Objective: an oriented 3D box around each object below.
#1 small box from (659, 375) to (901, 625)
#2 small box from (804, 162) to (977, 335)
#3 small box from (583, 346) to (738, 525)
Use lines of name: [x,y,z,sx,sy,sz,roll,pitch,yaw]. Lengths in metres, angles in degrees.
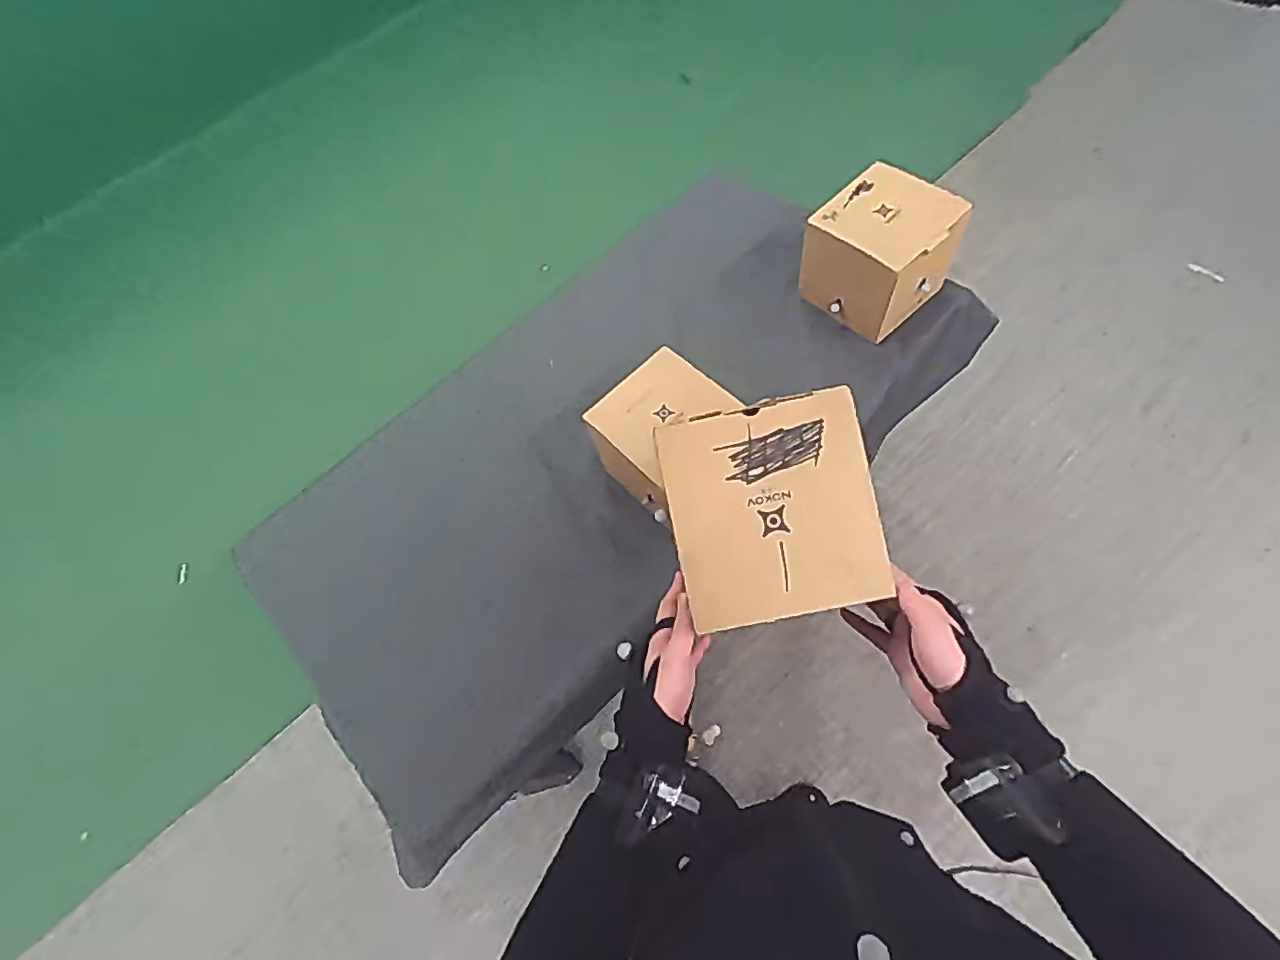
small box: [0.111,0.019,0.505,0.168,0.176,0.179,-11,87,2]
small box: [0.393,-0.366,0.884,0.168,0.176,0.179,-40,65,-8]
small box: [0.049,-0.054,0.795,0.168,0.176,0.179,-42,64,-13]
